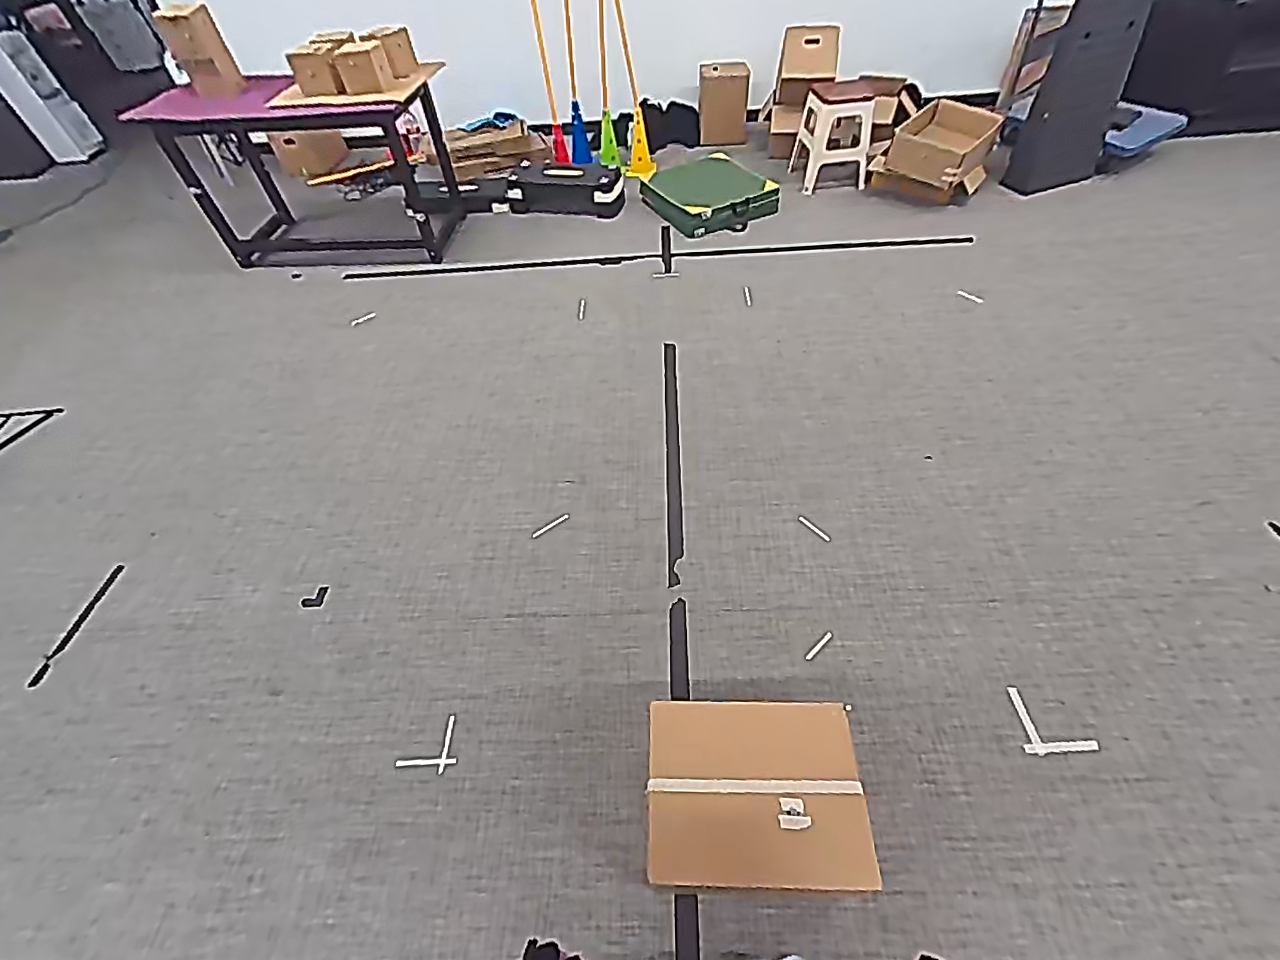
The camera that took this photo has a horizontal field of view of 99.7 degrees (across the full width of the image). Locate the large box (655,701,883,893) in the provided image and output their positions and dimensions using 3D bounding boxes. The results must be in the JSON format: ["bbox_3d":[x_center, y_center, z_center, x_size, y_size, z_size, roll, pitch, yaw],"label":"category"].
[{"bbox_3d":[0.236,0.683,1.158,0.408,0.320,0.320,0,52,3],"label":"large box"}]
